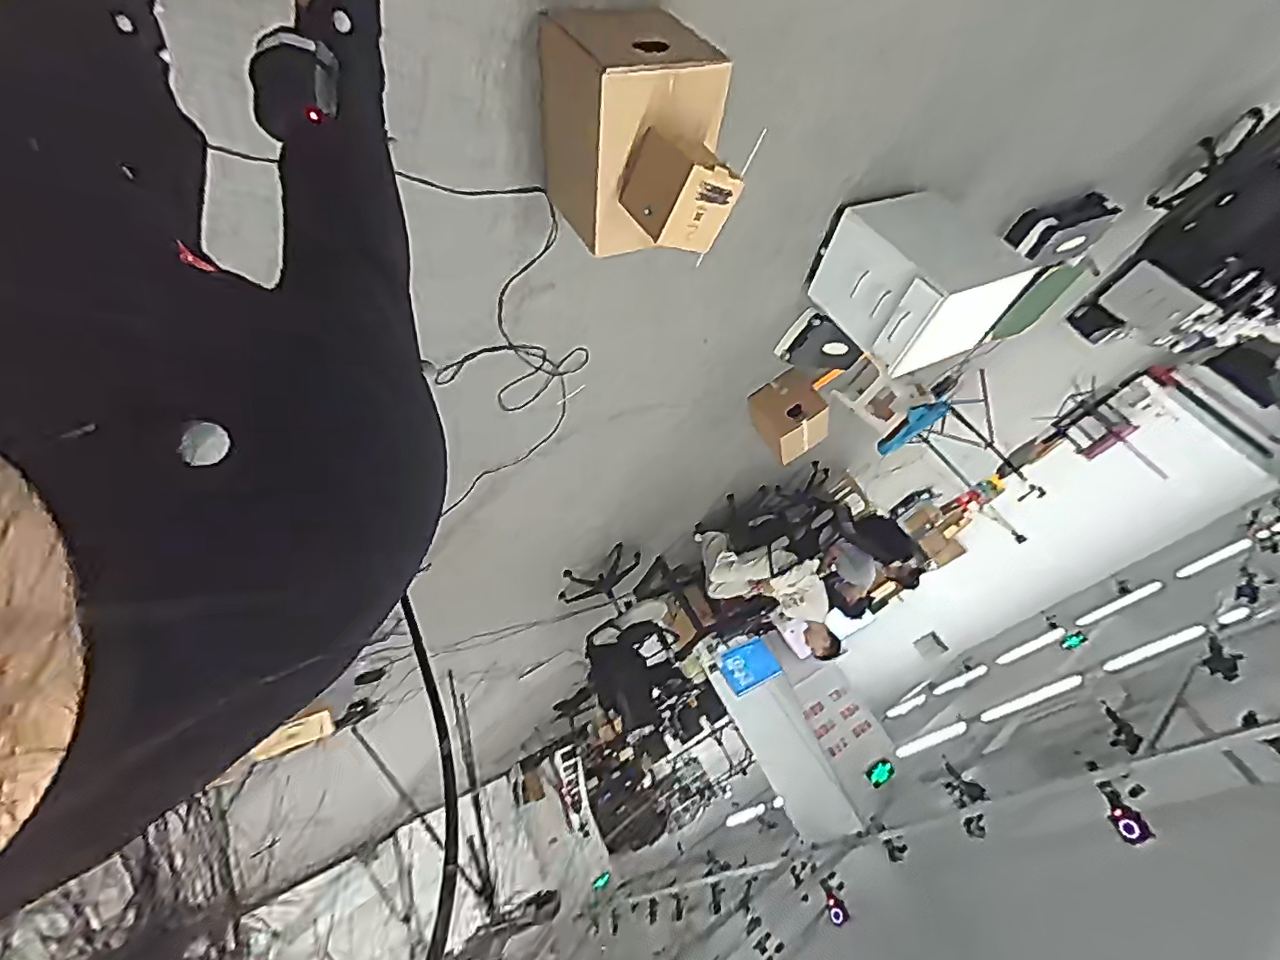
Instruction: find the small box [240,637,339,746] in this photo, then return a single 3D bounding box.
[{"bbox_3d":[-0.835,0.503,1.297,0.168,0.176,0.179,-14,150,-32],"label":"small box"}]
